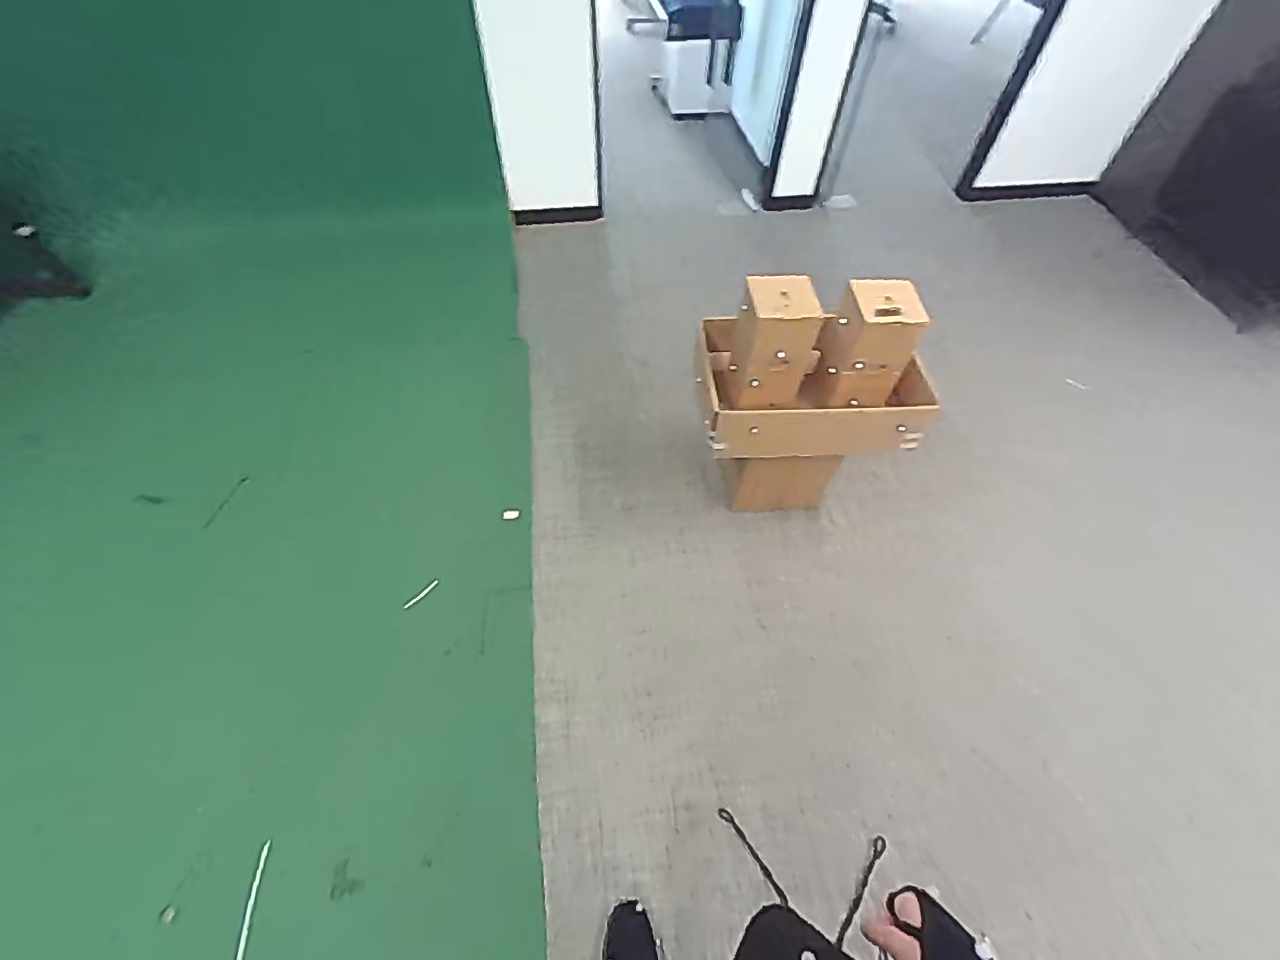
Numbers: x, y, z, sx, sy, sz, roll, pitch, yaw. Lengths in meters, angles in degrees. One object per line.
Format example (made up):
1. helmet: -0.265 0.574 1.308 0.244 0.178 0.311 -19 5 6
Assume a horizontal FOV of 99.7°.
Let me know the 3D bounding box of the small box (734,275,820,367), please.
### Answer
1. small box: 0.354 -0.421 1.435 0.168 0.176 0.179 -2 54 -3

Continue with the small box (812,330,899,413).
1. small box: 0.616 -0.316 1.573 0.168 0.176 0.179 -1 55 -2

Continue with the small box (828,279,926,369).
1. small box: 0.620 -0.412 1.440 0.168 0.176 0.179 0 54 -2
